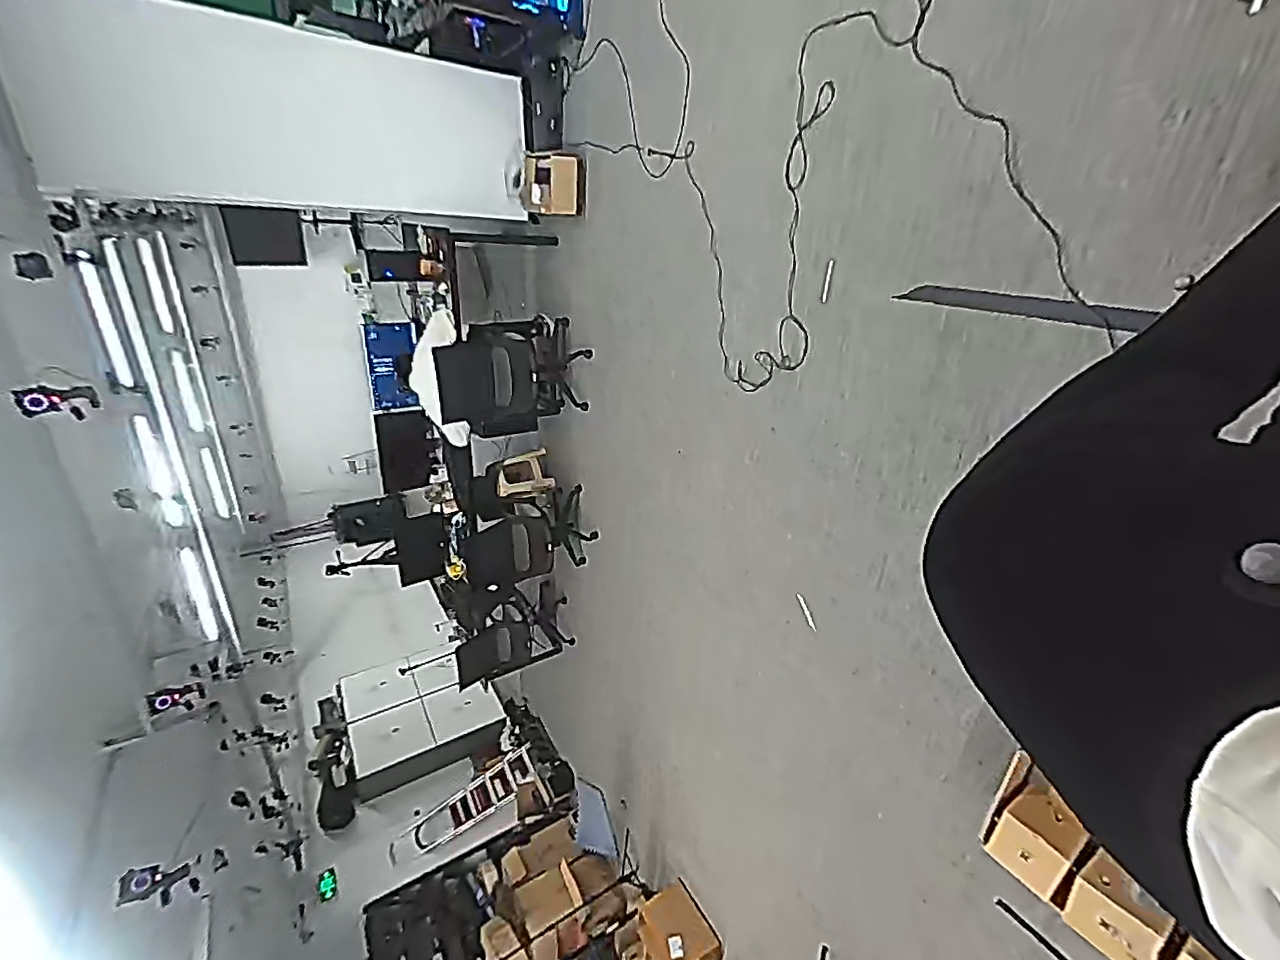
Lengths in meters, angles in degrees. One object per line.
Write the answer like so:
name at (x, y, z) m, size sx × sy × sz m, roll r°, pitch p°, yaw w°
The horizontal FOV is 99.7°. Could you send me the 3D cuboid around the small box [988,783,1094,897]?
small box at (1.132, 1.007, 1.525) m, size 0.168 × 0.176 × 0.179 m, roll 34°, pitch 126°, yaw 49°
